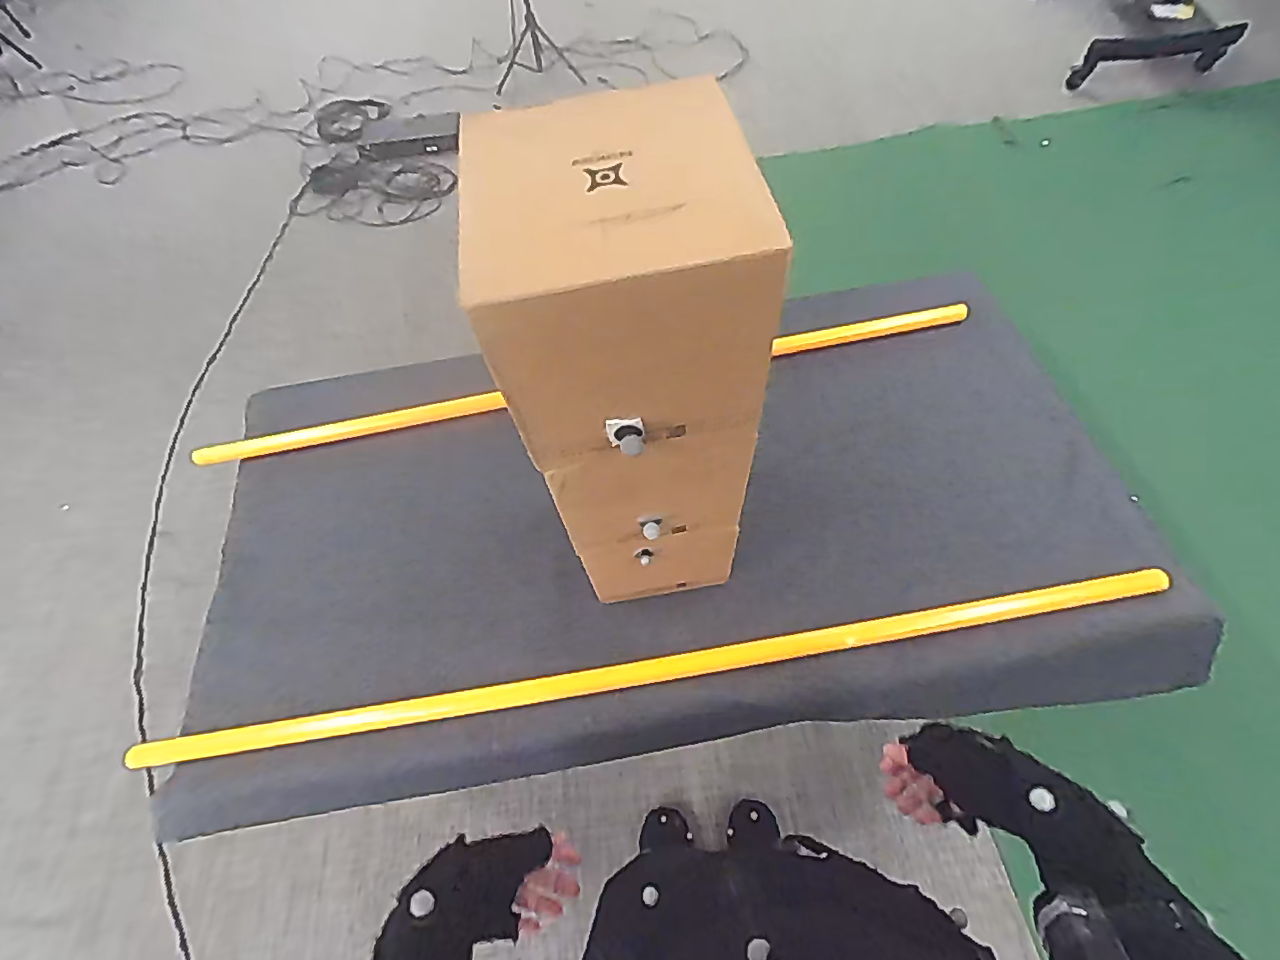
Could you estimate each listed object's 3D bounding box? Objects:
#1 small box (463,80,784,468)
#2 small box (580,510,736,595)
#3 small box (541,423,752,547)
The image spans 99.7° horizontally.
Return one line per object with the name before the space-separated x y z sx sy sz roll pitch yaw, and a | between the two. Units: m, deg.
small box | -0.014 -0.133 0.380 0.168 0.176 0.179 -12 62 0
small box | 0.013 0.023 0.665 0.168 0.176 0.179 -10 60 0
small box | -0.002 -0.056 0.522 0.168 0.176 0.179 -10 61 -1
